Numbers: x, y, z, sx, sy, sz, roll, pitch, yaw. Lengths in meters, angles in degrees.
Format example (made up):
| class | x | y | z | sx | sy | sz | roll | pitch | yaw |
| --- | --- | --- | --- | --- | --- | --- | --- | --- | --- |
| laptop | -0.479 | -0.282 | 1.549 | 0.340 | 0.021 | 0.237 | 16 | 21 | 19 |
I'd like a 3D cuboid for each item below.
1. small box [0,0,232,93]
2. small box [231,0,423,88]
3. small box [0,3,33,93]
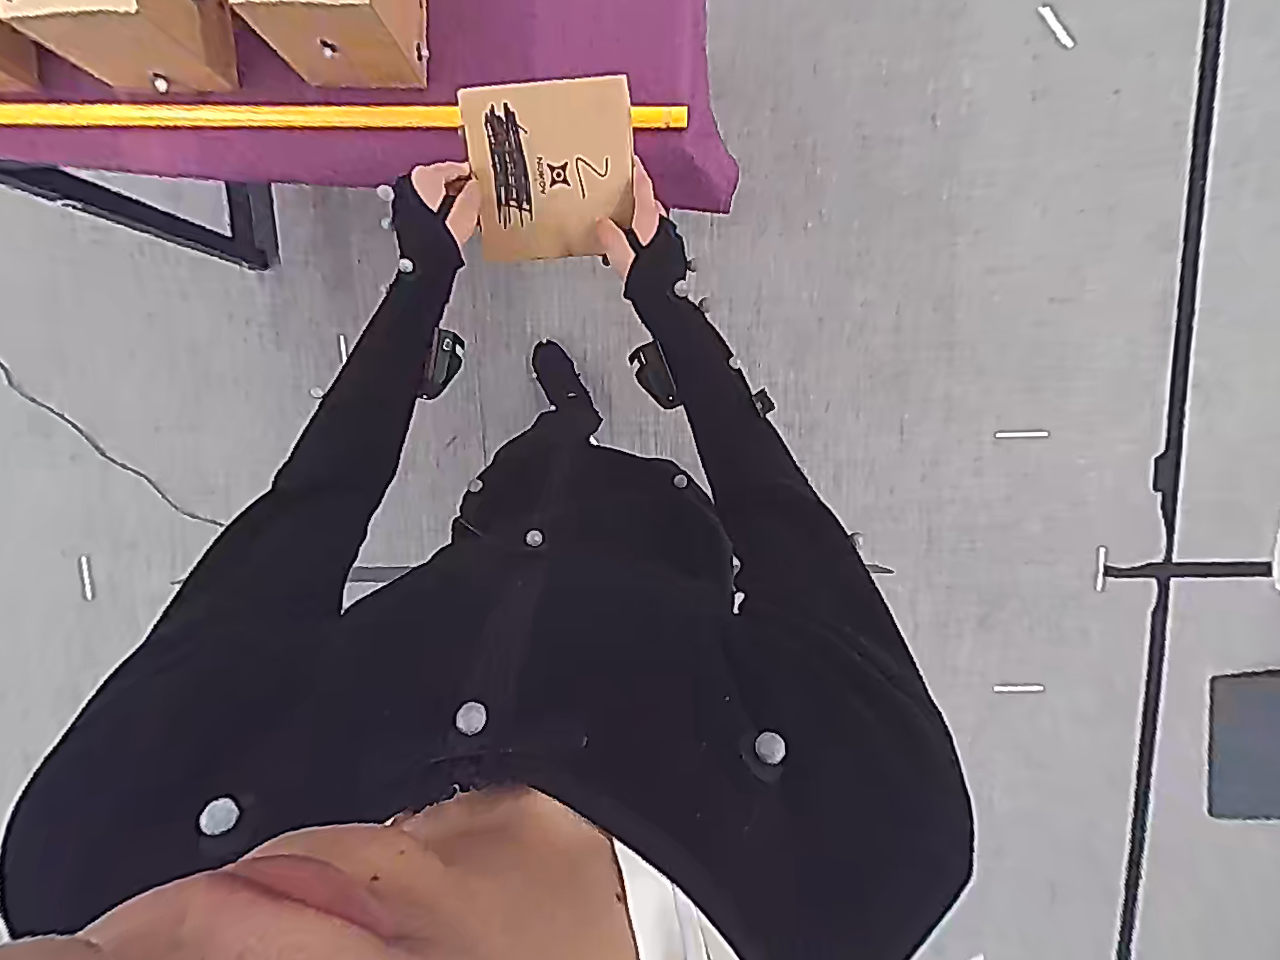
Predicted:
| class | x | y | z | sx | sy | sz | roll | pitch | yaw |
| --- | --- | --- | --- | --- | --- | --- | --- | --- | --- |
| small box | -0.686 | -0.650 | 0.721 | 0.179 | 0.176 | 0.168 | -2 | 98 | 0 |
| small box | -0.401 | -0.656 | 0.717 | 0.179 | 0.176 | 0.168 | 2 | 96 | 1 |
| small box | -0.981 | -0.650 | 0.721 | 0.179 | 0.176 | 0.168 | -1 | 97 | -2 |
